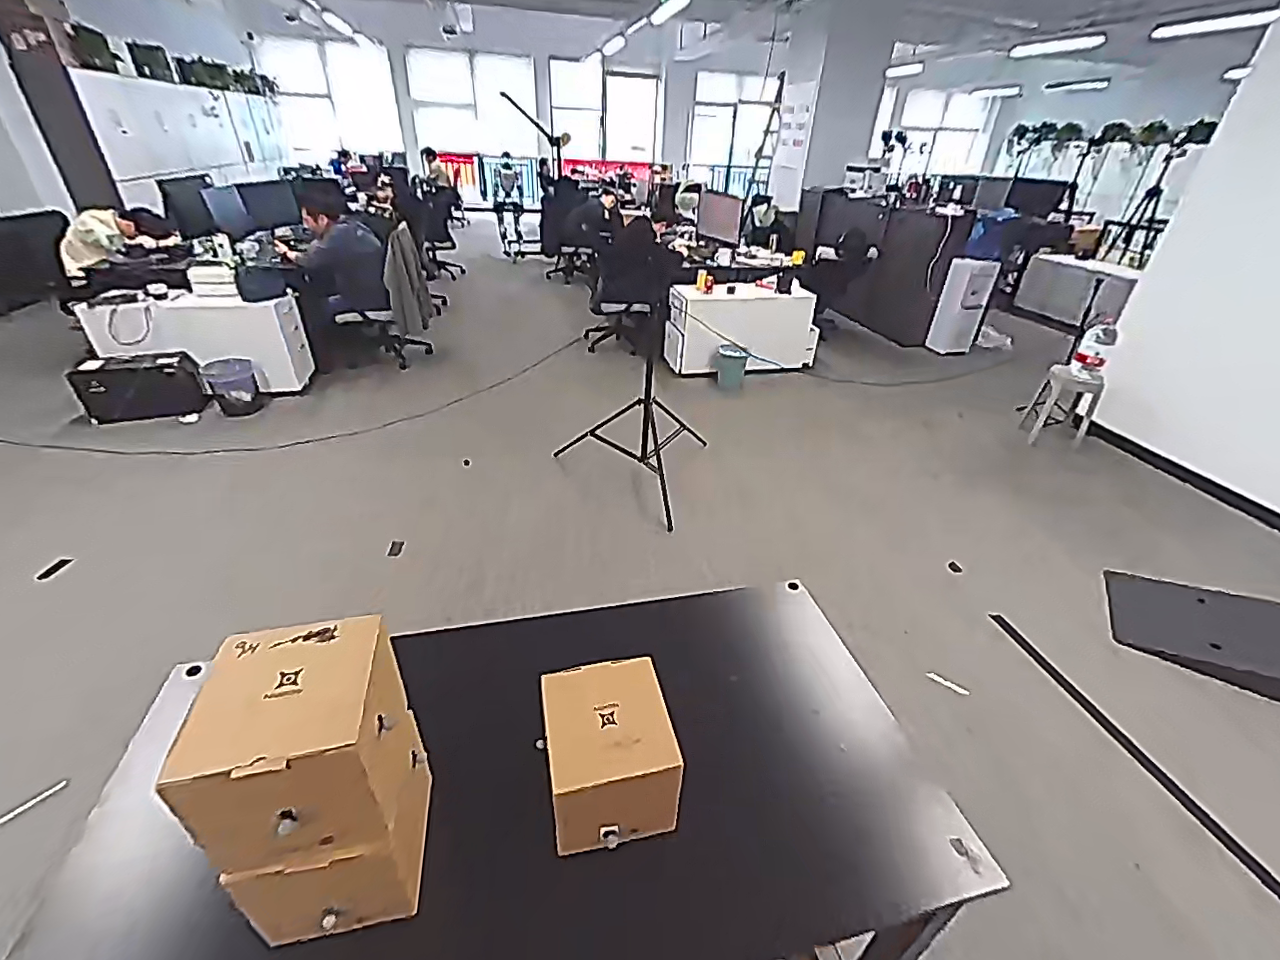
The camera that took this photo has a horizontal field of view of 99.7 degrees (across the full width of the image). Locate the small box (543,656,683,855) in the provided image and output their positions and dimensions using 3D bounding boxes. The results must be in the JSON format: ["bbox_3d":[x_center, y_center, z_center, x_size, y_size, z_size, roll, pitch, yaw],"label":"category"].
[{"bbox_3d":[-0.046,0.387,0.773,0.168,0.176,0.179,-7,34,-12],"label":"small box"}]

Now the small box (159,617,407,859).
[{"bbox_3d":[-0.367,0.286,0.602,0.168,0.176,0.179,-6,33,-13],"label":"small box"}]

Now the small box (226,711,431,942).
[{"bbox_3d":[-0.368,0.429,0.682,0.168,0.176,0.179,-5,33,-11],"label":"small box"}]
